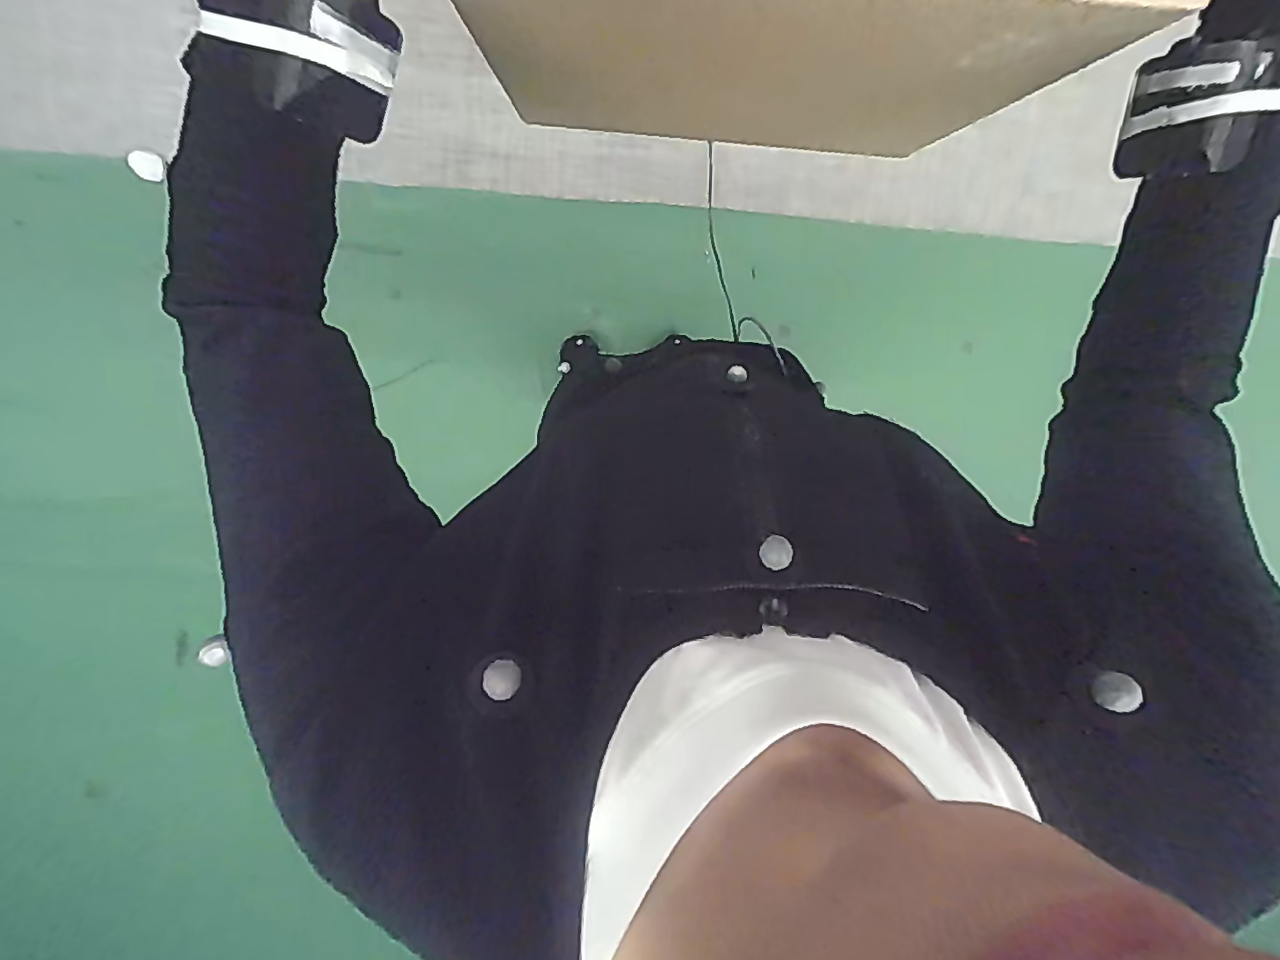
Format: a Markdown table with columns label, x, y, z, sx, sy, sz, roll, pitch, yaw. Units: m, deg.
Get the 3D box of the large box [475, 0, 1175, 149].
| label | x | y | z | sx | sy | sz | roll | pitch | yaw |
| --- | --- | --- | --- | --- | --- | --- | --- | --- | --- |
| large box | 0.096 | -0.453 | 0.376 | 0.408 | 0.320 | 0.320 | 2 | 109 | -4 |
